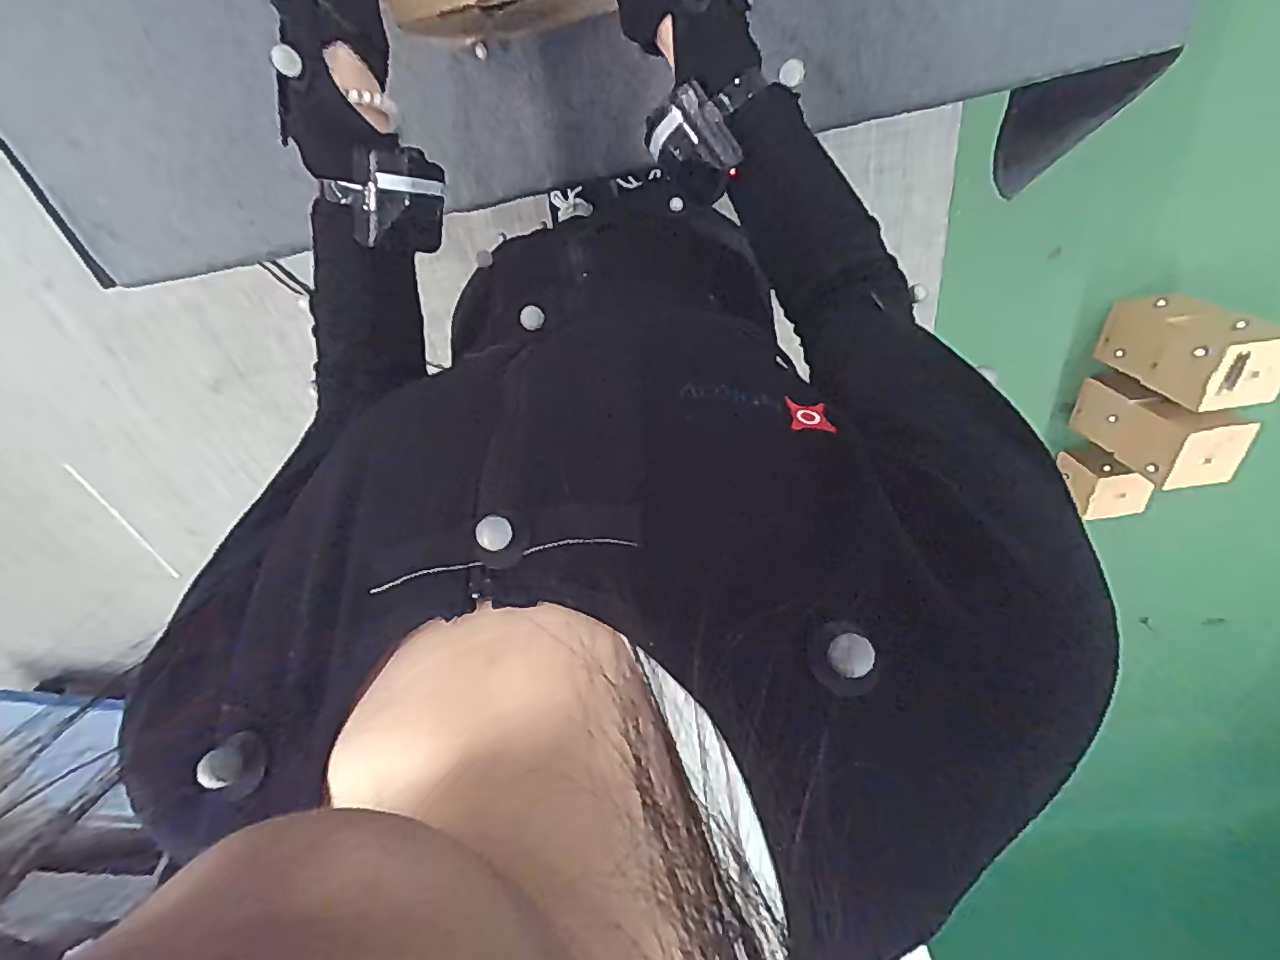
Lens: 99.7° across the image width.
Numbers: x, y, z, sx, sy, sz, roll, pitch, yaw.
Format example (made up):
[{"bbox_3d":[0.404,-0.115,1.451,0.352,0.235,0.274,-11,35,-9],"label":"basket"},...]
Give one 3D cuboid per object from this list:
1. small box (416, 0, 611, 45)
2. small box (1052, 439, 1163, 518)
[{"bbox_3d":[-0.117,-0.460,0.413,0.168,0.176,0.179,-11,123,5],"label":"small box"},{"bbox_3d":[1.431,-0.010,1.668,0.179,0.176,0.168,-10,125,5],"label":"small box"}]
